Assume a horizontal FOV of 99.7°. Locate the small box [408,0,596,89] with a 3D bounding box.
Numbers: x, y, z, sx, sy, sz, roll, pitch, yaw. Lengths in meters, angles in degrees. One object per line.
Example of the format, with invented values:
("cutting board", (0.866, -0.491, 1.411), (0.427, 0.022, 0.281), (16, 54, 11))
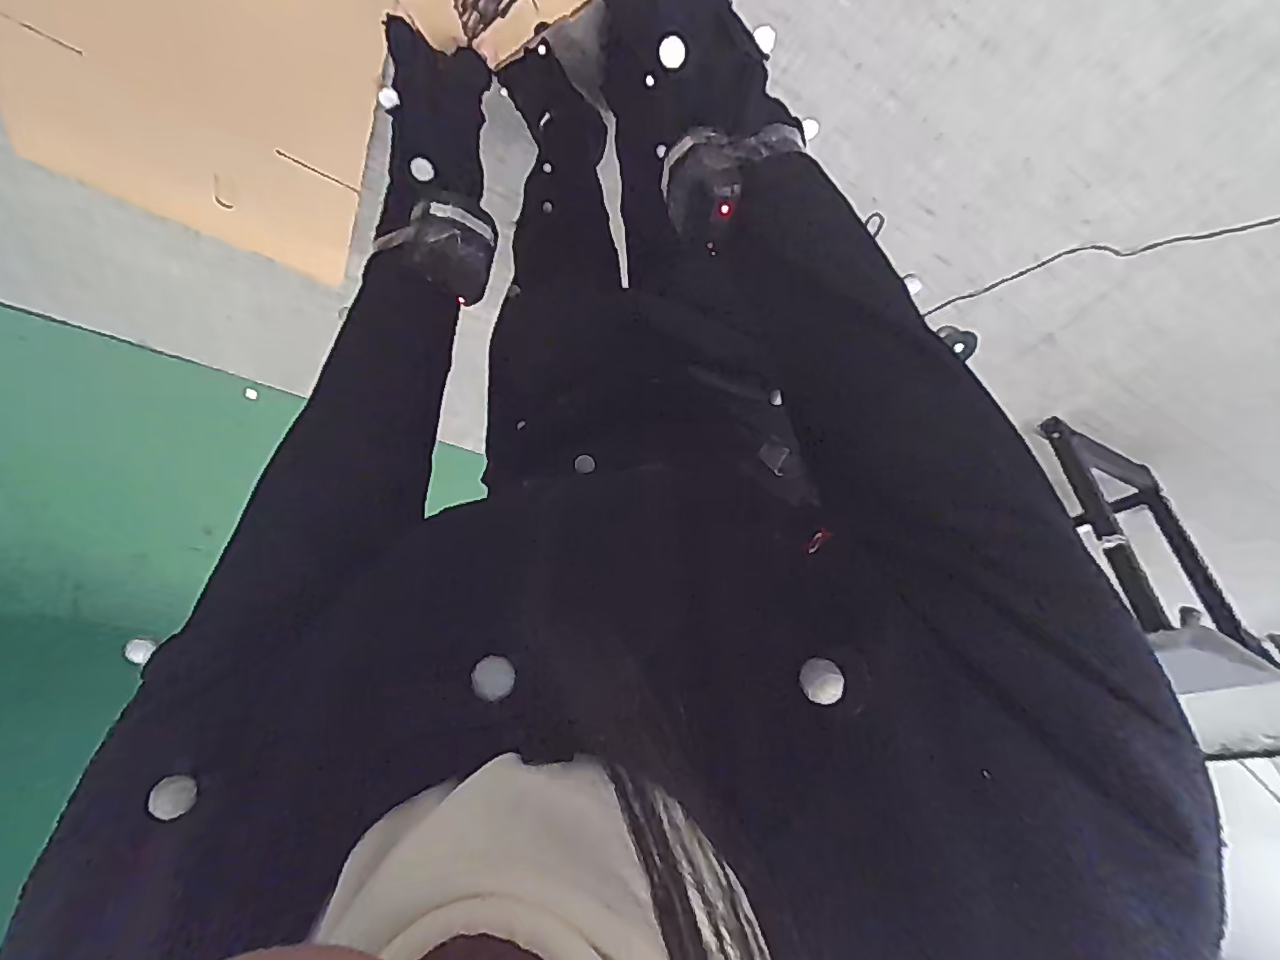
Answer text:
("small box", (-0.108, -0.455, 0.398), (0.168, 0.176, 0.179), (-17, 143, 27))
